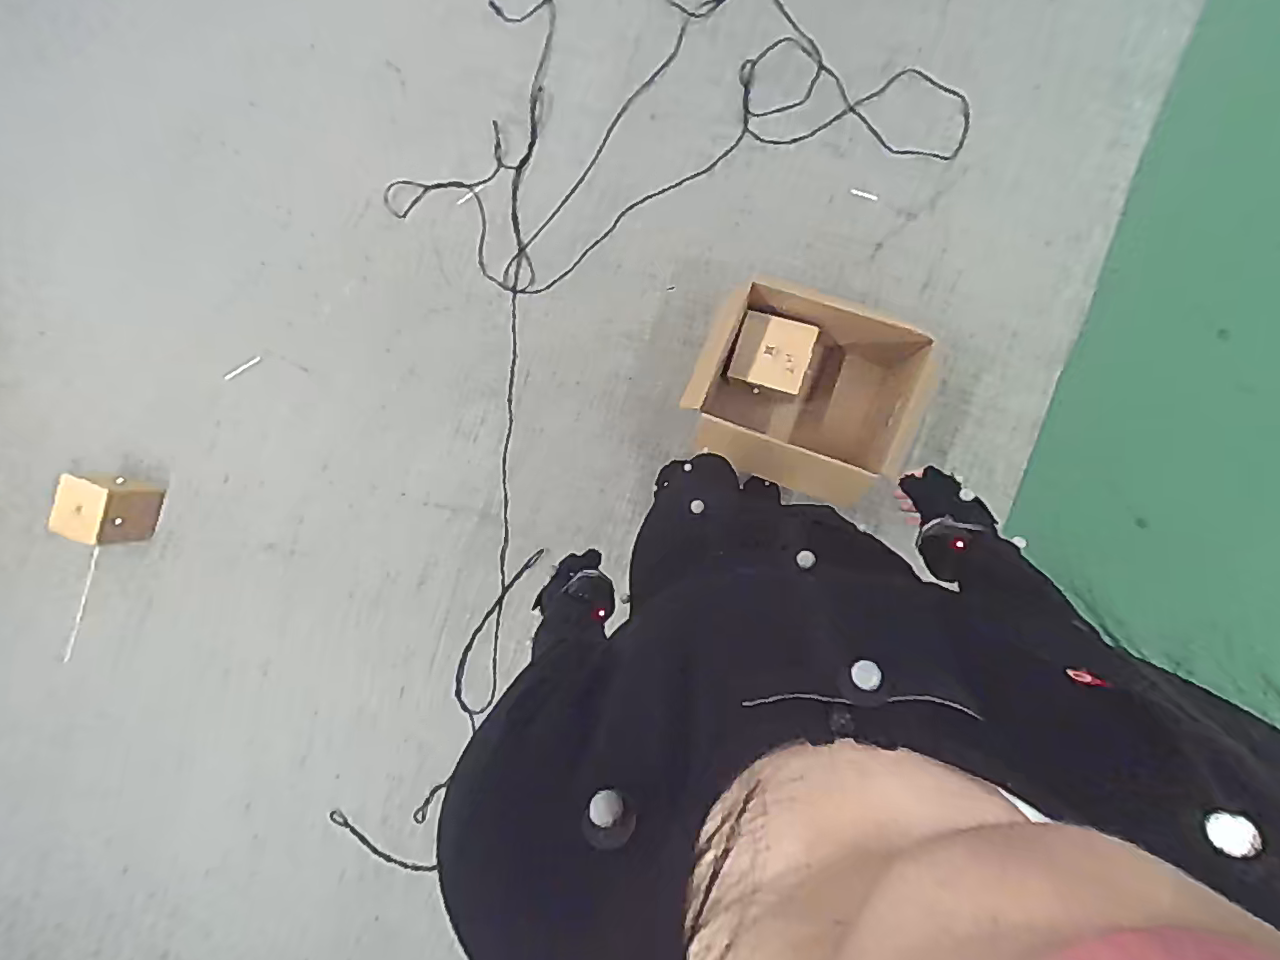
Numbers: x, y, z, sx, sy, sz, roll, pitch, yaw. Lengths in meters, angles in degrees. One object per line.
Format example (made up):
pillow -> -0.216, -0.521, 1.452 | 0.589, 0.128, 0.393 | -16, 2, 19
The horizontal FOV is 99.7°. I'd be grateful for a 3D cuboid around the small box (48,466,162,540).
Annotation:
small box -> -1.598, 0.063, 1.626 | 0.168, 0.176, 0.179 | 18, 94, 6
